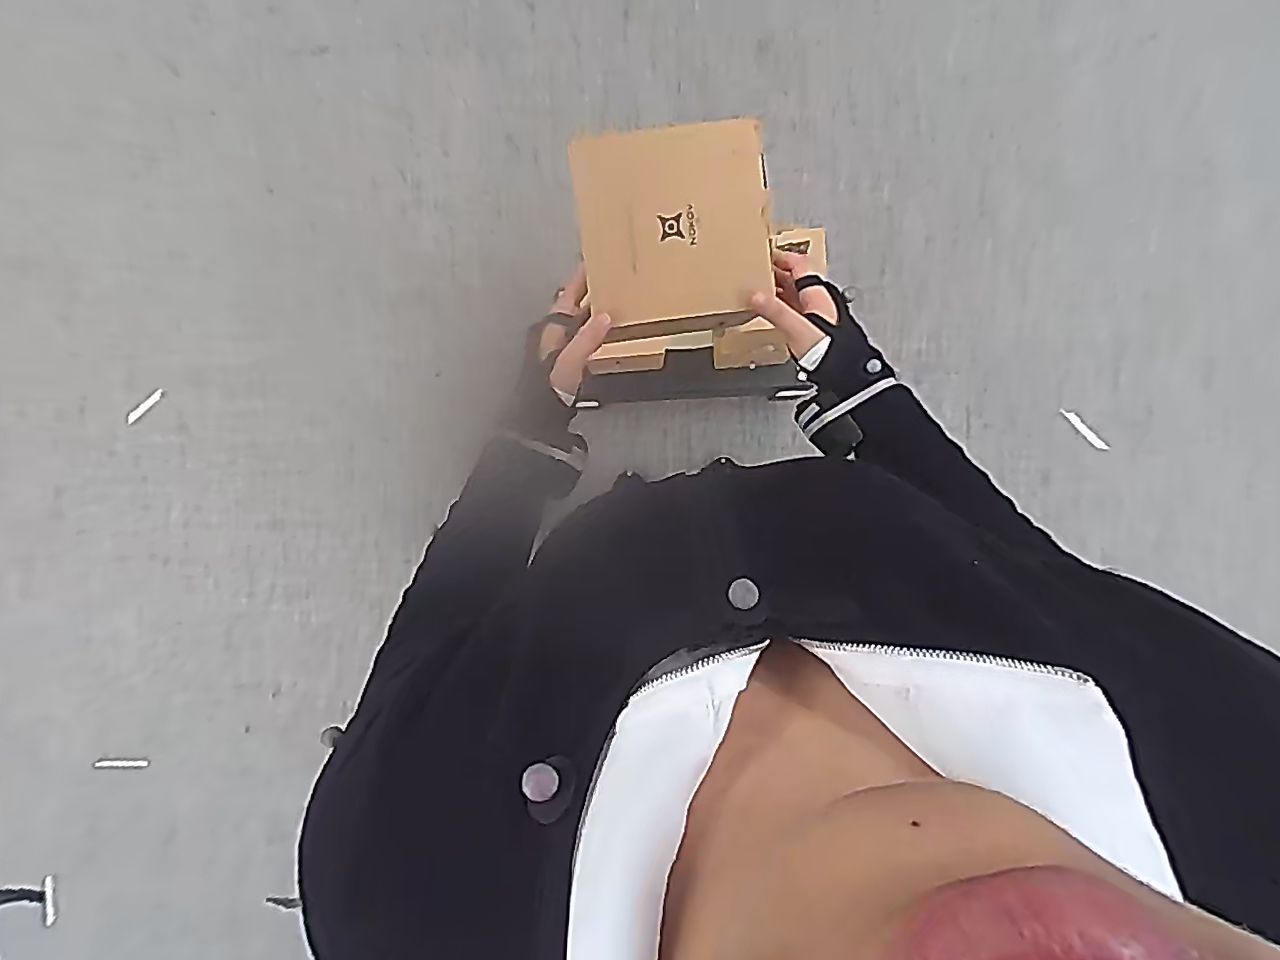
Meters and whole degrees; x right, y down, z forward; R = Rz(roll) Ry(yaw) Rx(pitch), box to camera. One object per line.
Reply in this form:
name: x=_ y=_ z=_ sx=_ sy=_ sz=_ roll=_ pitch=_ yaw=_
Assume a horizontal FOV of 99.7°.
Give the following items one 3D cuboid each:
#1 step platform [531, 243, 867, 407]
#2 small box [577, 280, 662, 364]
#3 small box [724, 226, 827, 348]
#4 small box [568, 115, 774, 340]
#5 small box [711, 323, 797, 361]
step platform: x=0.118 y=-0.324 z=1.190 sx=0.684 sy=0.204 sz=0.286 roll=-3 pitch=90 yaw=0
small box: x=-0.042 y=-0.351 z=1.228 sx=0.179 sy=0.176 sz=0.168 roll=-5 pitch=91 yaw=1
small box: x=0.253 y=-0.369 z=1.057 sx=0.168 sy=0.176 sz=0.179 roll=-4 pitch=92 yaw=2
small box: x=0.028 y=-0.250 z=0.575 sx=0.179 sy=0.176 sz=0.168 roll=-9 pitch=99 yaw=0
small box: x=0.248 y=-0.368 z=1.222 sx=0.168 sy=0.176 sz=0.179 roll=-4 pitch=91 yaw=2
